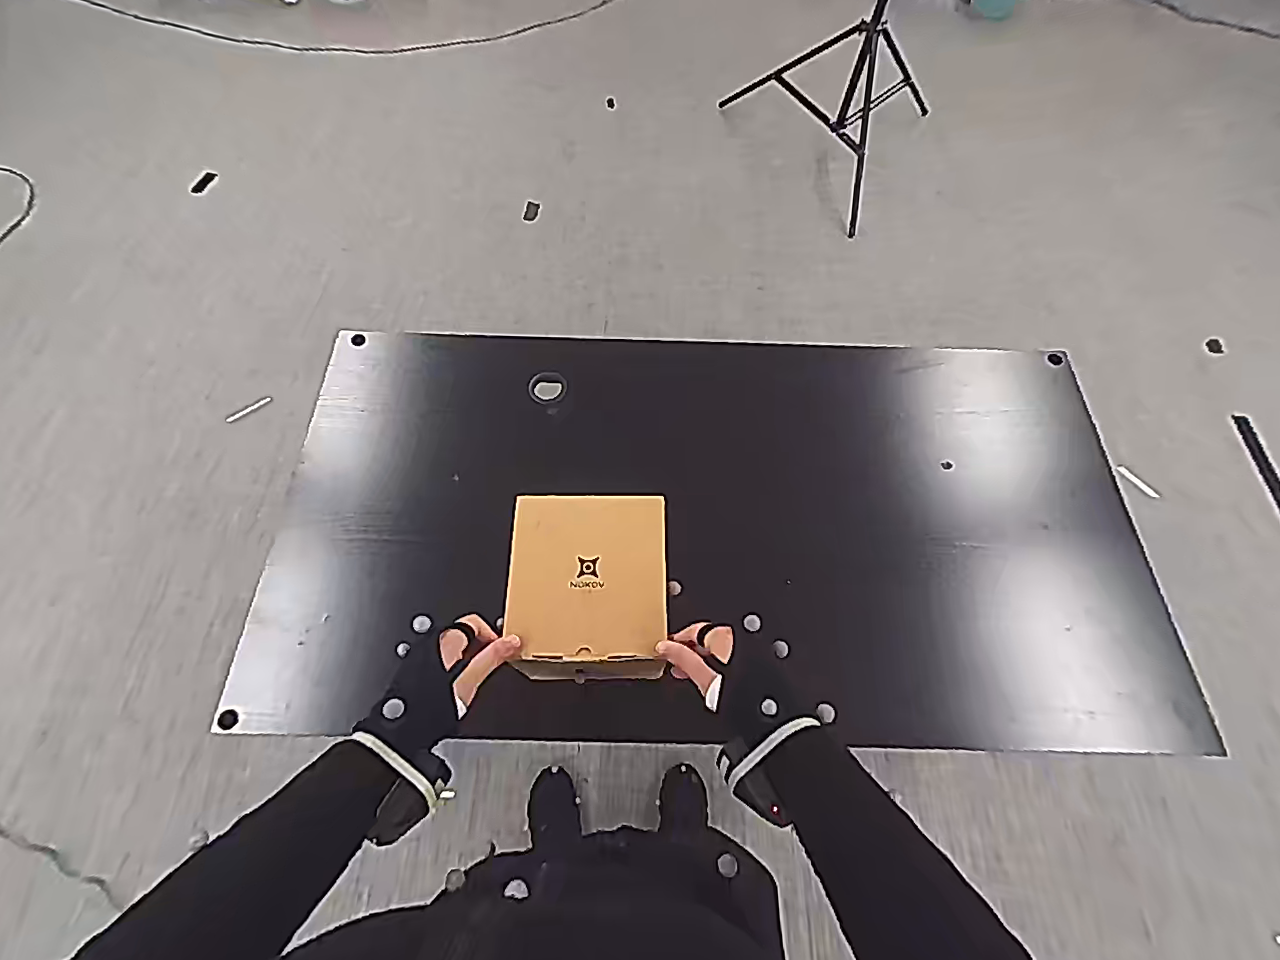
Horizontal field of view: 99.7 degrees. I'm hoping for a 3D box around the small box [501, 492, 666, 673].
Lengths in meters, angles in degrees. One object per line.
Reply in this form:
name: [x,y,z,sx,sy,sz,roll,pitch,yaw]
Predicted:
small box: [-0.058,0.127,0.641,0.168,0.176,0.179,0,65,-1]
